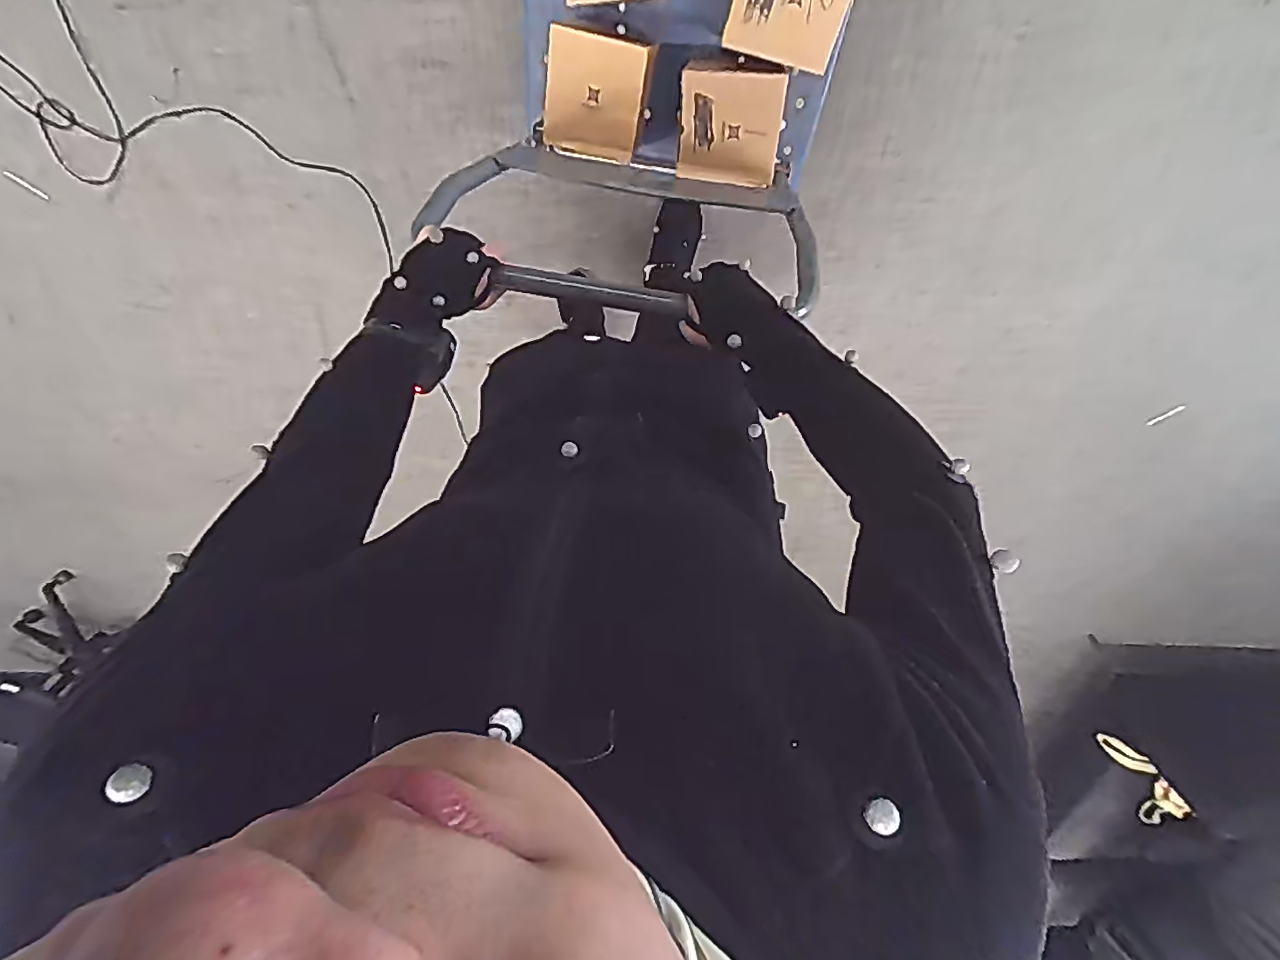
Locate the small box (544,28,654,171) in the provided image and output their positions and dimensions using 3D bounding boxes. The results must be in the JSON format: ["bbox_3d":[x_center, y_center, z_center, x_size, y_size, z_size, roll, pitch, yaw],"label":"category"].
[{"bbox_3d":[-0.072,-0.702,0.992,0.168,0.176,0.179,13,133,-2],"label":"small box"}]

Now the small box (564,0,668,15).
[{"bbox_3d":[-0.035,-0.853,0.844,0.168,0.176,0.179,1,132,8],"label":"small box"}]
